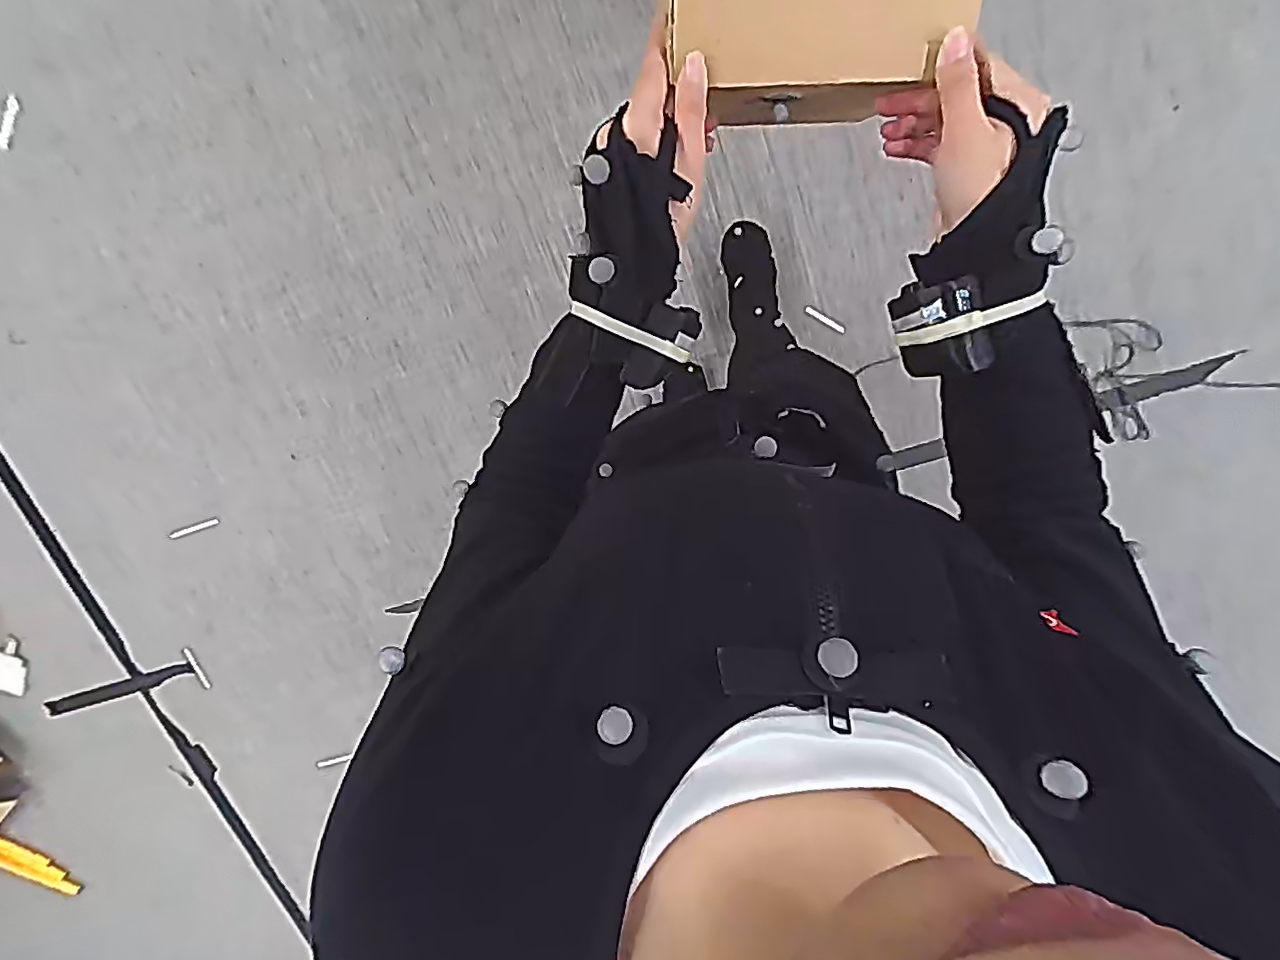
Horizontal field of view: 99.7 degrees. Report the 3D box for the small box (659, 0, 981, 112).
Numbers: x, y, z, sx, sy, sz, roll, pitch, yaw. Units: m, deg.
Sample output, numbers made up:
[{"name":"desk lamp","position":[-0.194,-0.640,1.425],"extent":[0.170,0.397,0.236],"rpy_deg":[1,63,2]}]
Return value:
[{"name":"small box","position":[0.101,-0.349,0.348],"extent":[0.179,0.176,0.168],"rpy_deg":[-2,116,0]}]
